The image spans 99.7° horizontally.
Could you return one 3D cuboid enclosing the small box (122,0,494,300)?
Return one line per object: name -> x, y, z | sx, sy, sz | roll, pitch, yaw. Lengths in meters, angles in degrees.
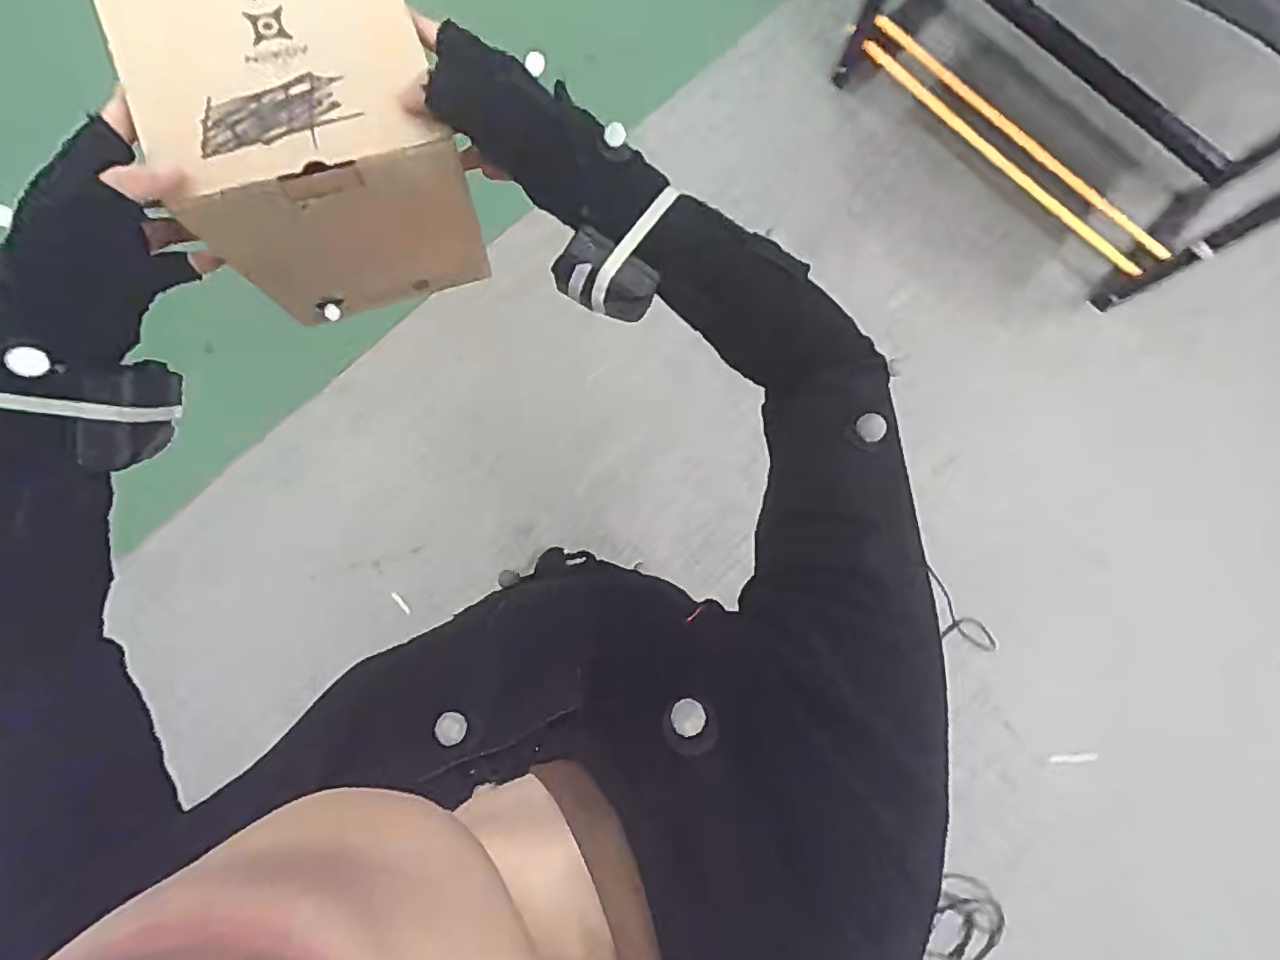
small box -> -0.220, -0.255, 0.402 | 0.168, 0.176, 0.179 | -19, 85, -10
